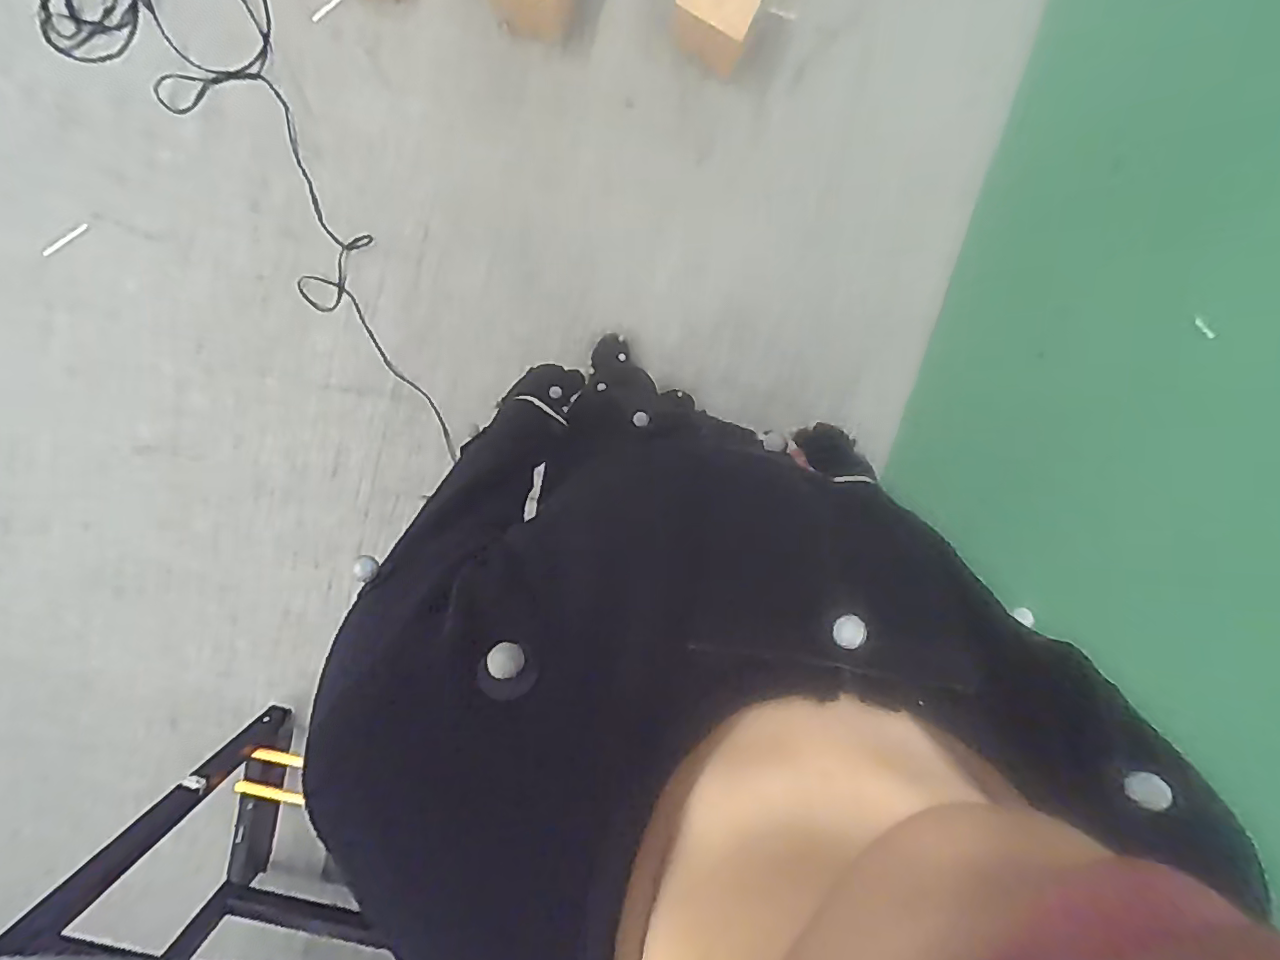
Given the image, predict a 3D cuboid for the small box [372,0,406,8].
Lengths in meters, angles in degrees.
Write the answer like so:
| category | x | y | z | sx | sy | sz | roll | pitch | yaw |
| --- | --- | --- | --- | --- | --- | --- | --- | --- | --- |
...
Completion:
| category | x | y | z | sx | sy | sz | roll | pitch | yaw |
| --- | --- | --- | --- | --- | --- | --- | --- | --- | --- |
| small box | -0.625 | -1.229 | 1.213 | 0.168 | 0.176 | 0.179 | 15 | 99 | -2 |
